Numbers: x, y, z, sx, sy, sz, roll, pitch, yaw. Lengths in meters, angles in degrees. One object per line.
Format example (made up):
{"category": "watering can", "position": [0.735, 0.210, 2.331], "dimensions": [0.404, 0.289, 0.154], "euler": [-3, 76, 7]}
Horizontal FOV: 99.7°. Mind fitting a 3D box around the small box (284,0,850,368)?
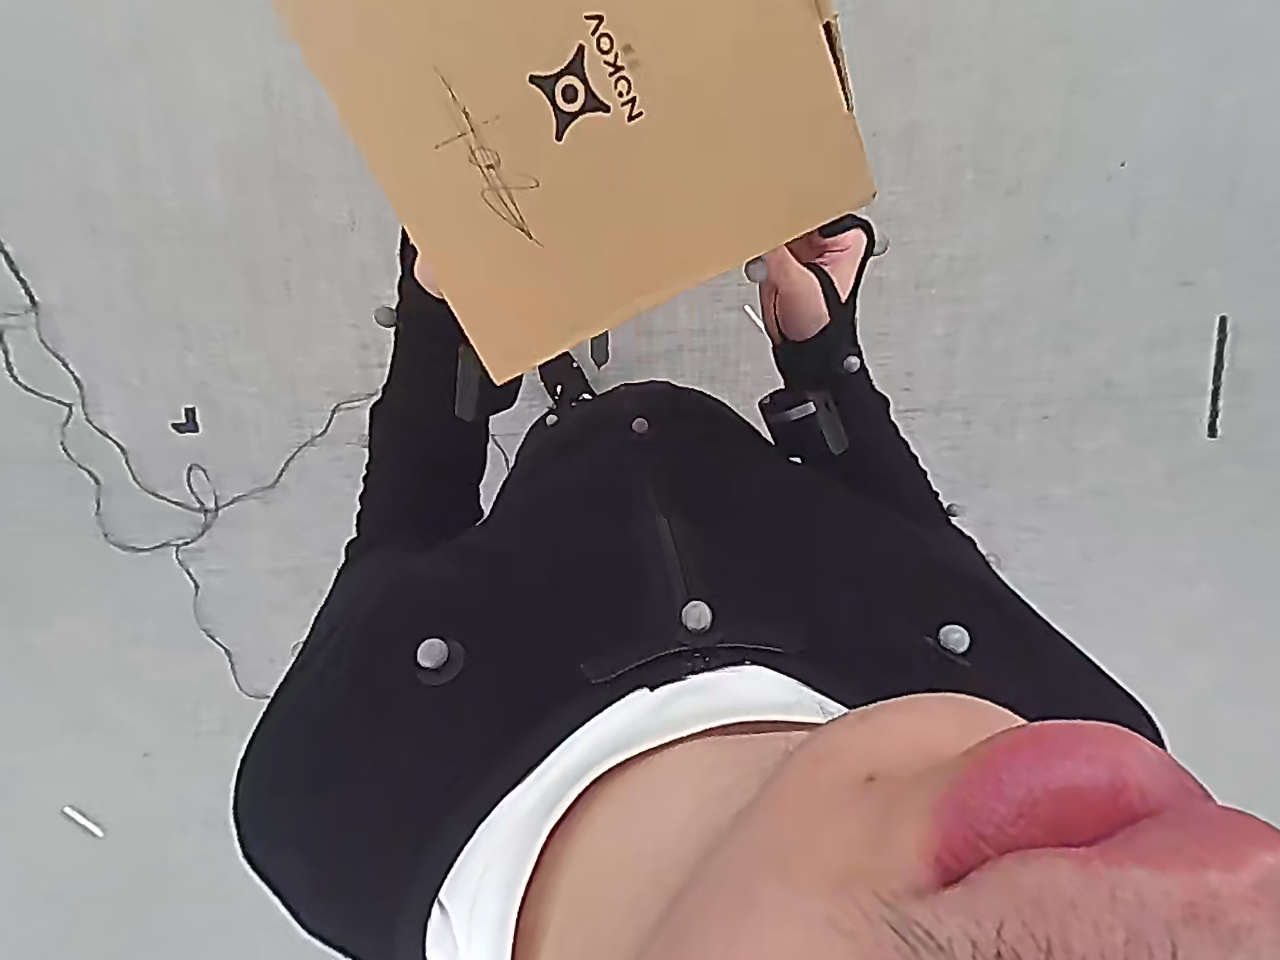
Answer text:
{"category": "small box", "position": [-0.021, -0.183, 0.283], "dimensions": [0.179, 0.176, 0.168], "euler": [-23, 109, 13]}
